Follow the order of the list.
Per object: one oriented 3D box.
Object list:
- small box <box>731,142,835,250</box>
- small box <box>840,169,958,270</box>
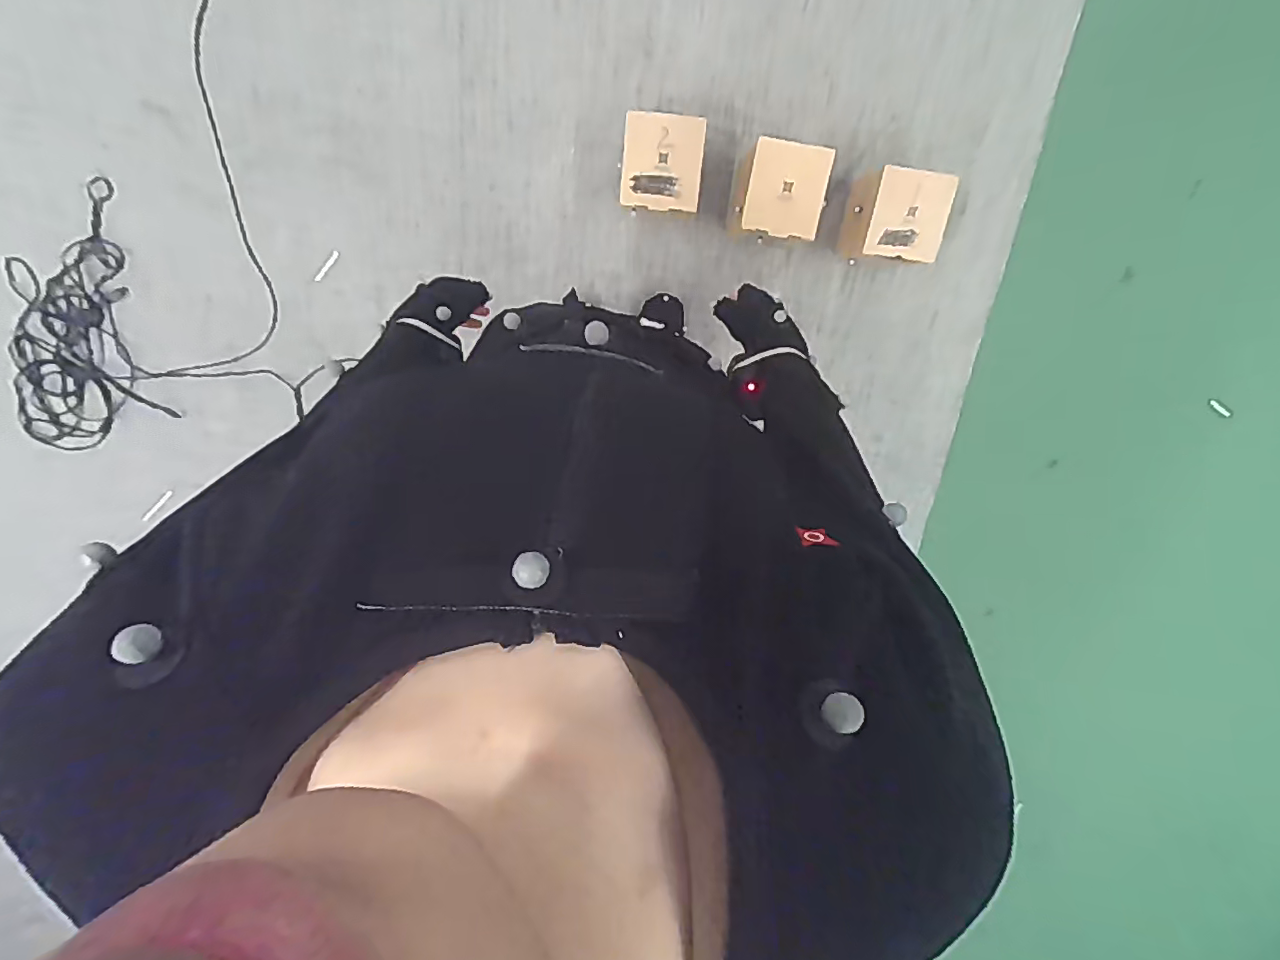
[{"bbox_3d":[0.308,-0.625,1.209,0.168,0.176,0.179,8,110,-3],"label":"small box"},{"bbox_3d":[0.573,-0.580,1.227,0.168,0.176,0.179,7,109,-3],"label":"small box"}]
